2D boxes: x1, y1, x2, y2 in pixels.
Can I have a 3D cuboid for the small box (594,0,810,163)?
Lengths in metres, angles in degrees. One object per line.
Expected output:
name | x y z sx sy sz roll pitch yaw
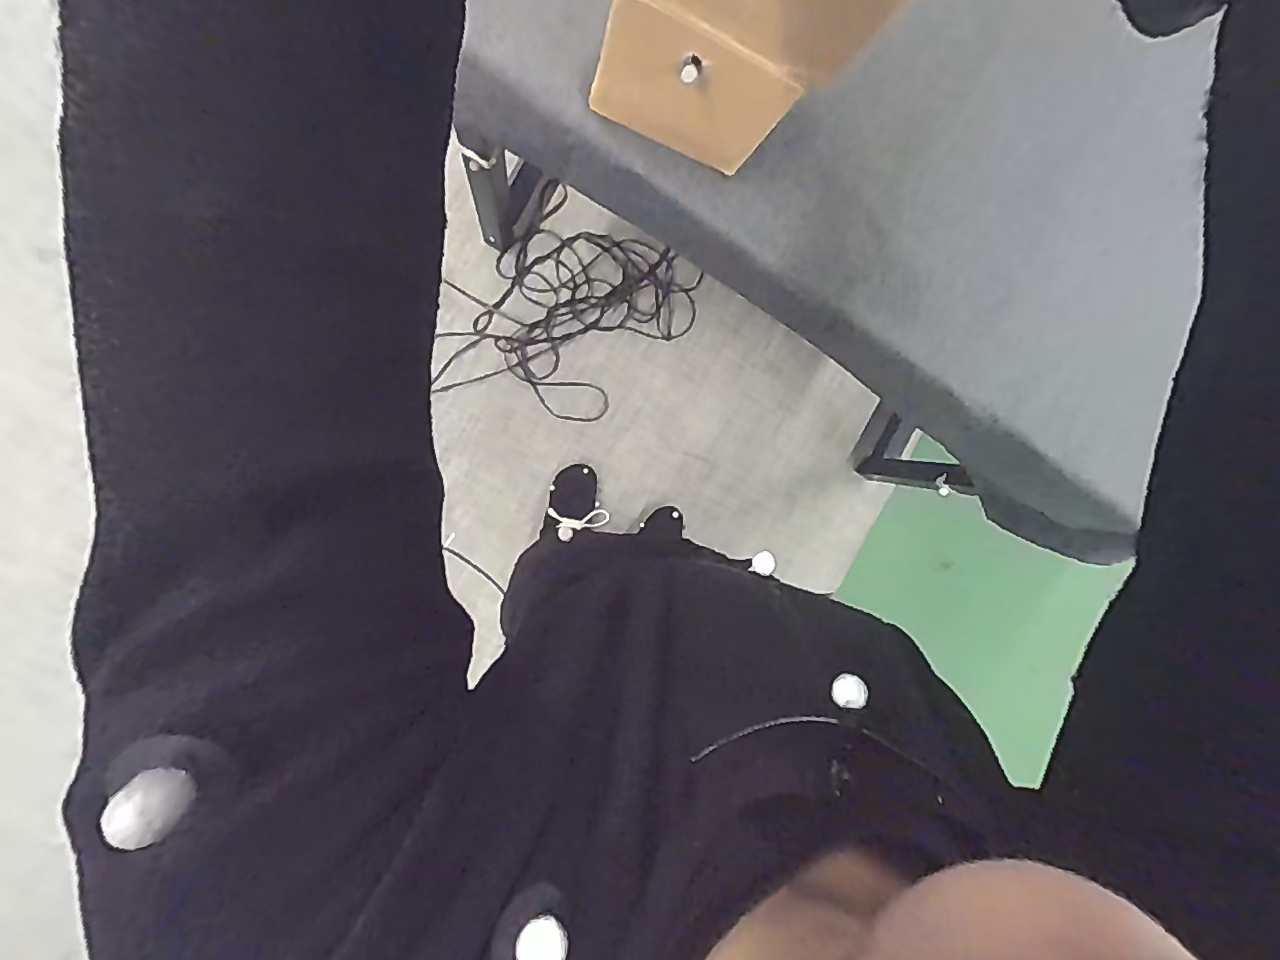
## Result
small box | 0.069 -0.440 0.512 0.179 0.176 0.168 18 91 -13

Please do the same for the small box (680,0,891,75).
small box | 0.120 -0.426 0.358 0.179 0.176 0.168 19 92 -14
